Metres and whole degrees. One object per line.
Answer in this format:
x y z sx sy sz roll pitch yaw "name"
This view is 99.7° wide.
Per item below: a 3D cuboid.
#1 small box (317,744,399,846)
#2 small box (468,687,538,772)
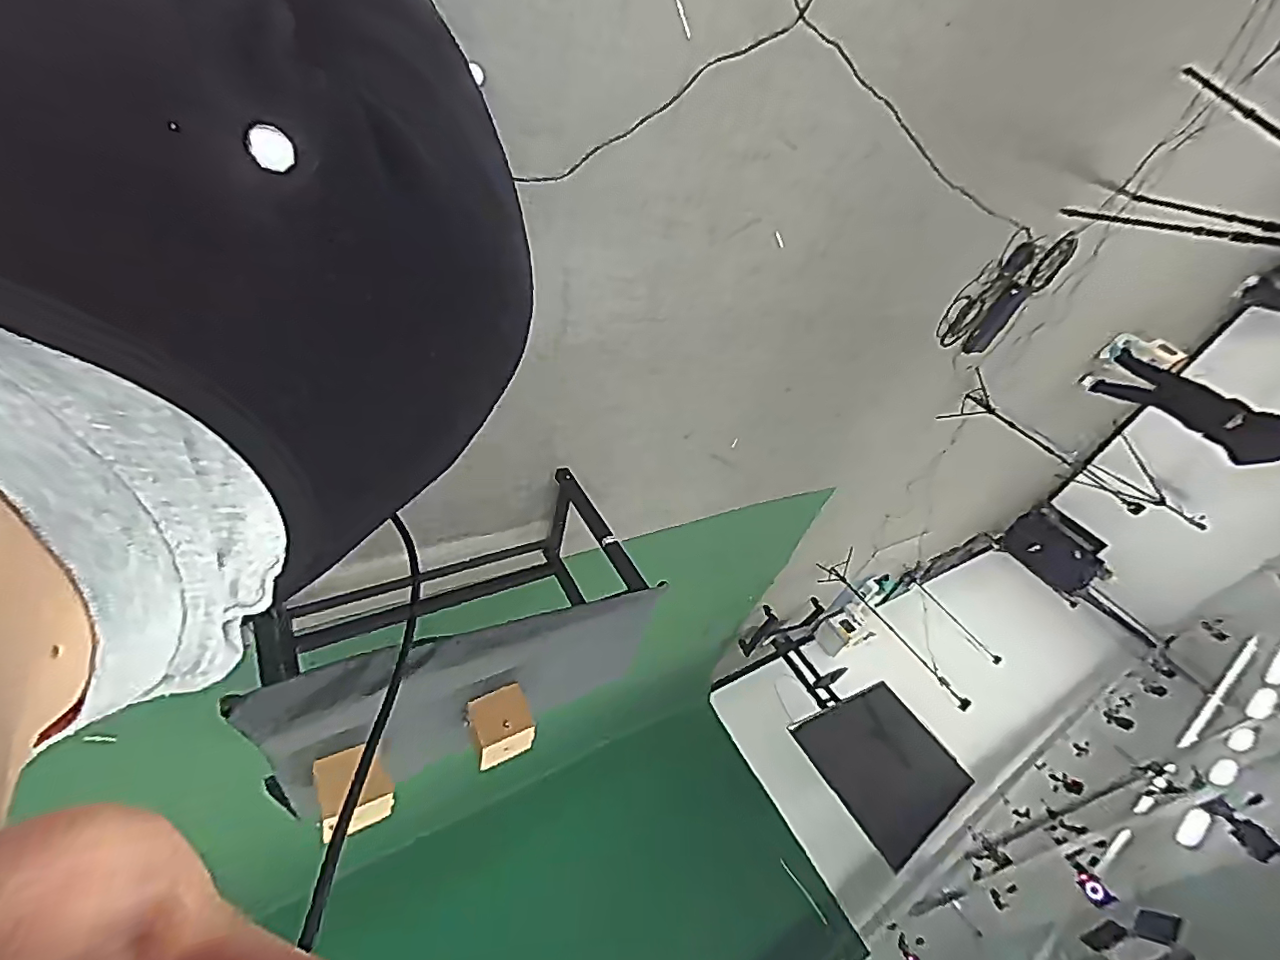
-0.814 0.897 1.554 0.179 0.176 0.168 -9 135 -37 "small box"
-0.458 0.820 1.794 0.179 0.176 0.168 -13 137 -30 "small box"
